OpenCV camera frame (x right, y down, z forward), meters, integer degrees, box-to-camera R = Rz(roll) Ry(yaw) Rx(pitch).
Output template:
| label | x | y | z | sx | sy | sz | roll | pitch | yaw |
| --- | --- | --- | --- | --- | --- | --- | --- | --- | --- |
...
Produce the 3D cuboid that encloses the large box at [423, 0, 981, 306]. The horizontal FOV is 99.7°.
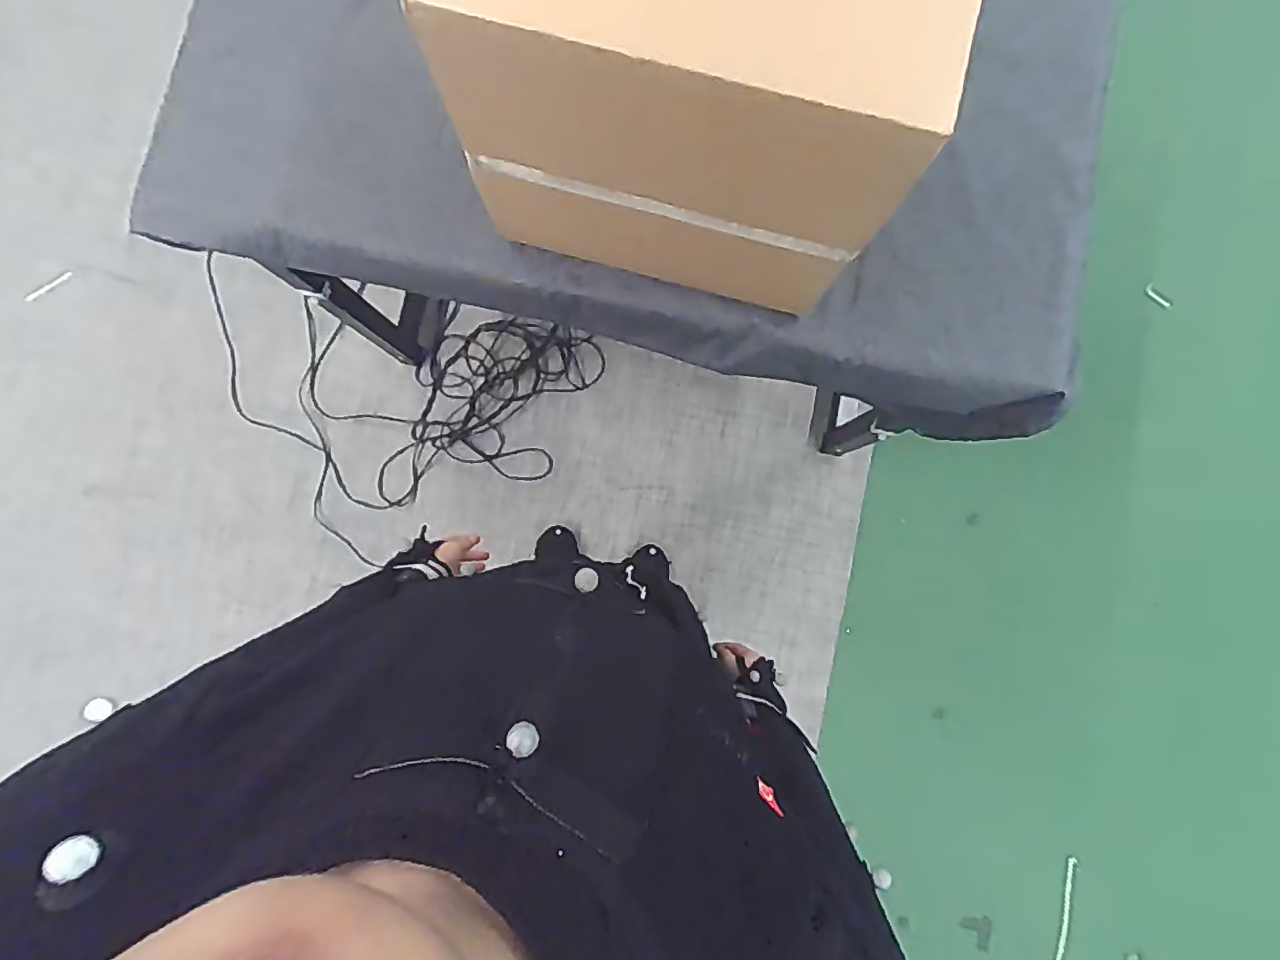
| label | x | y | z | sx | sy | sz | roll | pitch | yaw |
| --- | --- | --- | --- | --- | --- | --- | --- | --- | --- |
| large box | 0.064 | -0.419 | 0.549 | 0.408 | 0.320 | 0.320 | 14 | 83 | 0 |
